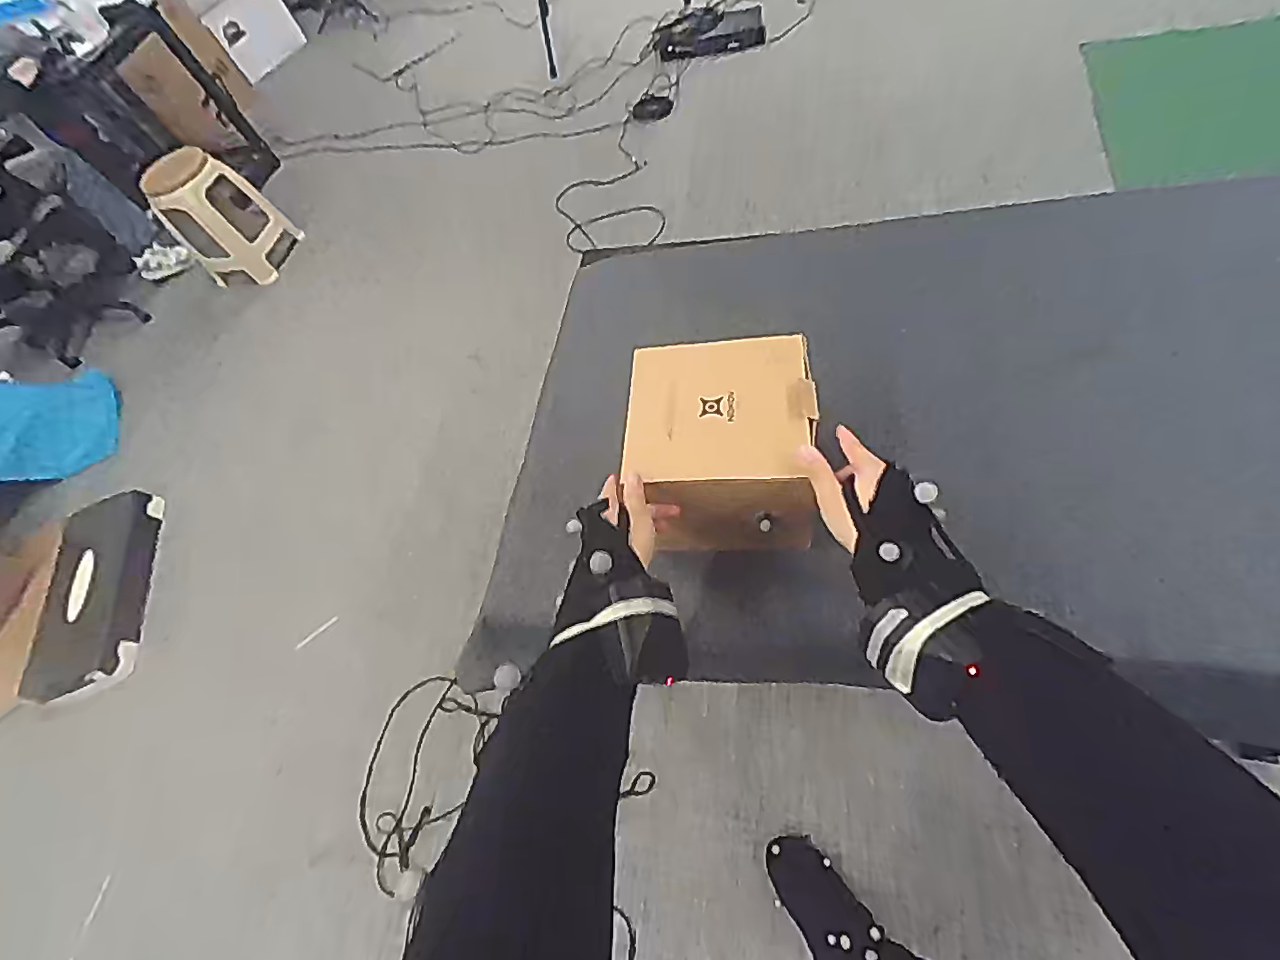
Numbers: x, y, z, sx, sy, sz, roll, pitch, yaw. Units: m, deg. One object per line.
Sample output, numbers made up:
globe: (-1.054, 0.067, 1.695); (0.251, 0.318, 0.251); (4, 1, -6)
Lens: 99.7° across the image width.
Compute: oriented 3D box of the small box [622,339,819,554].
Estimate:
small box: (0.092, -0.026, 0.583); (0.179, 0.176, 0.168); (-3, 60, 14)
